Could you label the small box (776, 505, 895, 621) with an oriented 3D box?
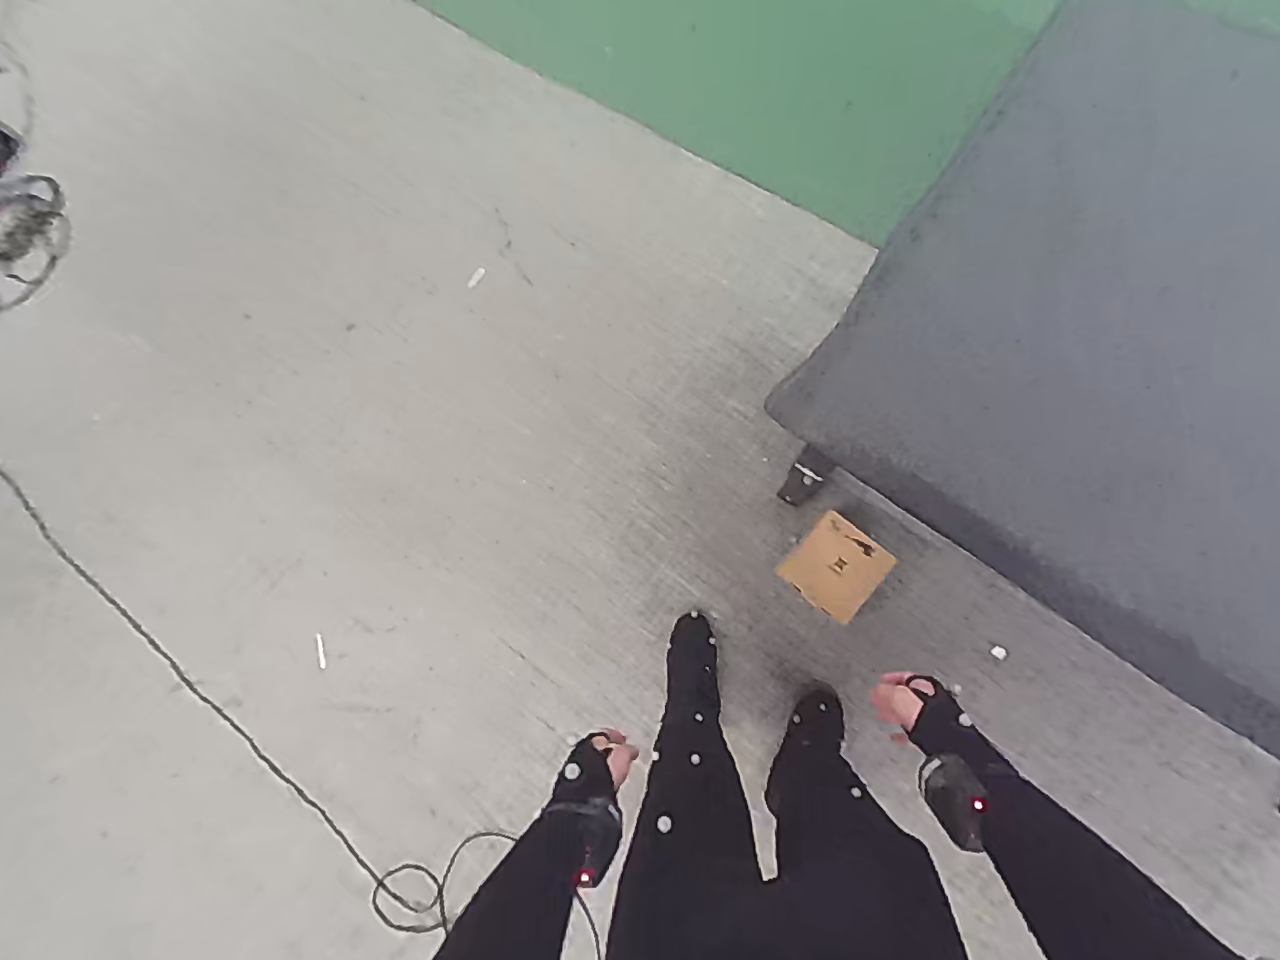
[{"bbox_3d":[0.411,0.179,1.171,0.168,0.176,0.179,39,89,13],"label":"small box"}]
